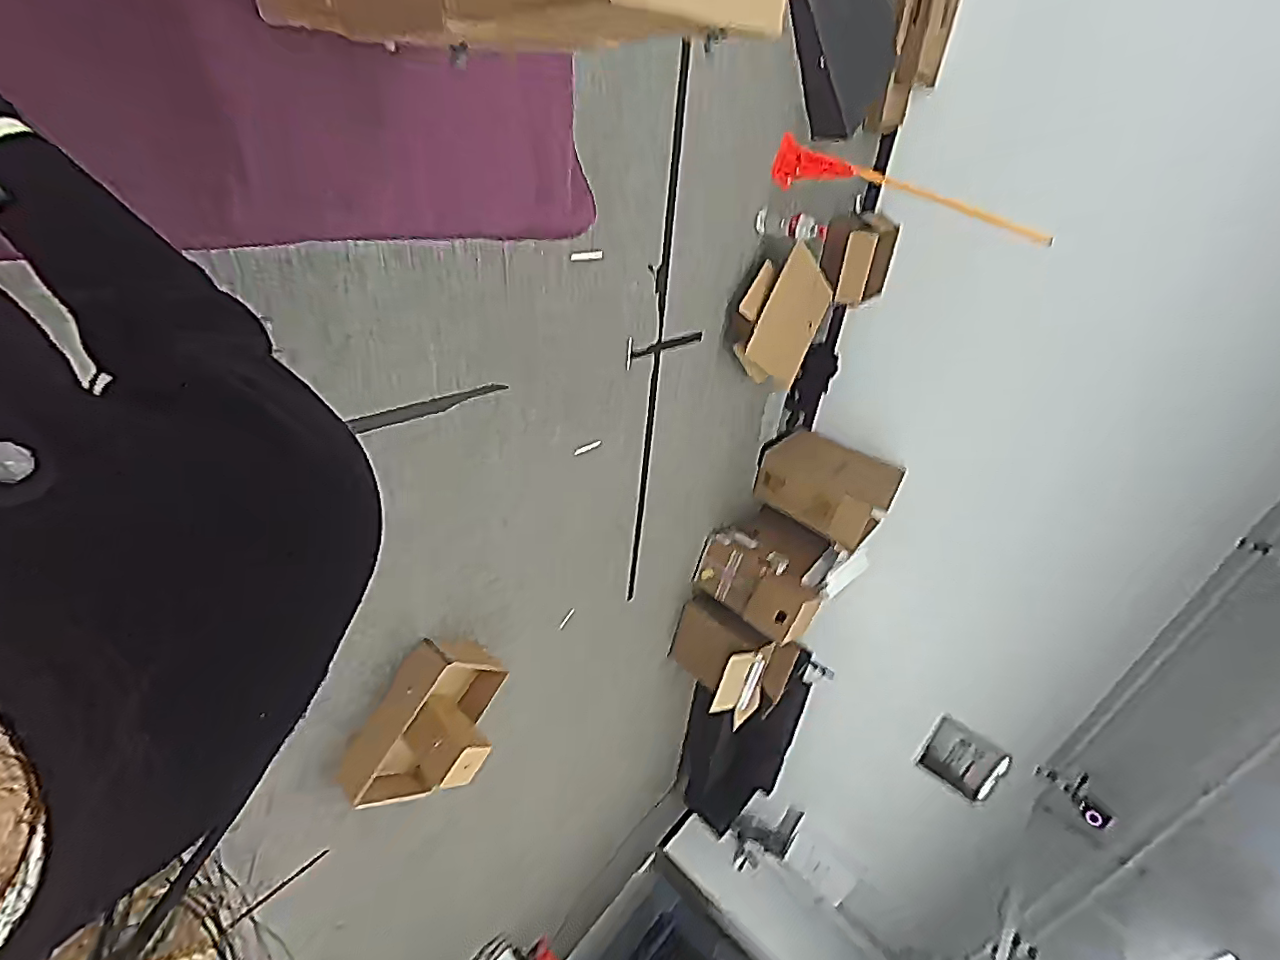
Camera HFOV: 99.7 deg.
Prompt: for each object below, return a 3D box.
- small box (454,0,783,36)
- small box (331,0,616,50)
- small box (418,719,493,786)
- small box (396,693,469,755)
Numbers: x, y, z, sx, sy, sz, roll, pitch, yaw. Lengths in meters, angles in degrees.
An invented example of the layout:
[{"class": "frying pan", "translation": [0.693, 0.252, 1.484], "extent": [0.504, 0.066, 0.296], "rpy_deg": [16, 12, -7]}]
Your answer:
[{"class": "small box", "translation": [-0.016, -0.390, 0.335], "extent": [0.179, 0.176, 0.168], "rpy_deg": [-32, 138, -38]}, {"class": "small box", "translation": [-0.137, -0.451, 0.427], "extent": [0.179, 0.176, 0.168], "rpy_deg": [-32, 137, -38]}, {"class": "small box", "translation": [-0.716, 1.050, 2.097], "extent": [0.168, 0.176, 0.179], "rpy_deg": [-57, 148, -8]}, {"class": "small box", "translation": [-0.838, 0.981, 2.181], "extent": [0.168, 0.176, 0.179], "rpy_deg": [-56, 148, -9]}]
